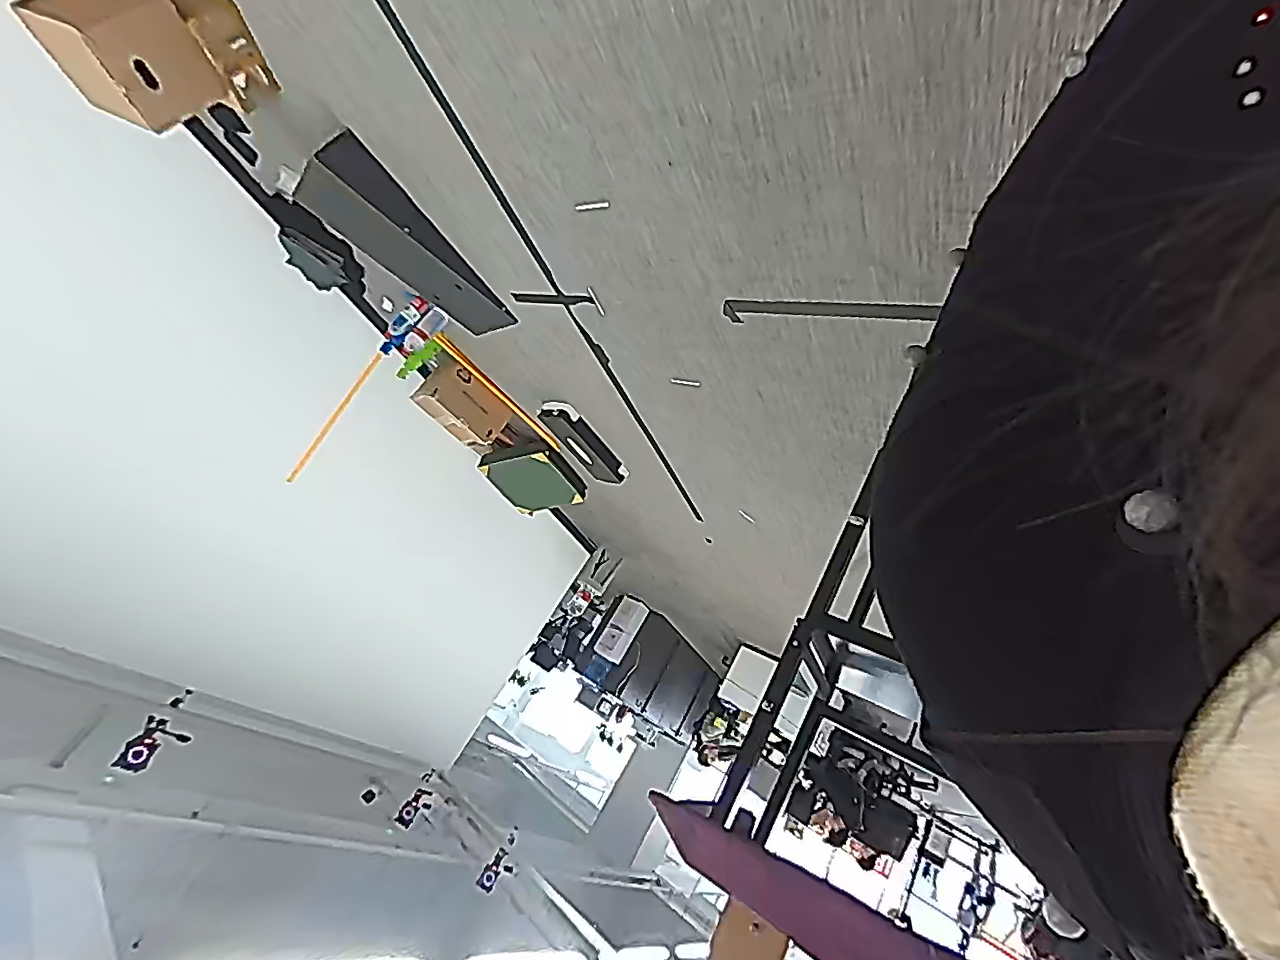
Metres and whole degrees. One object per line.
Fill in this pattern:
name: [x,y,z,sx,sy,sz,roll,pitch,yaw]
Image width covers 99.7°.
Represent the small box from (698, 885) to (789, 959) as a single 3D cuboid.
small box: [0.278,1.219,1.434,0.179,0.176,0.168,22,157,28]
